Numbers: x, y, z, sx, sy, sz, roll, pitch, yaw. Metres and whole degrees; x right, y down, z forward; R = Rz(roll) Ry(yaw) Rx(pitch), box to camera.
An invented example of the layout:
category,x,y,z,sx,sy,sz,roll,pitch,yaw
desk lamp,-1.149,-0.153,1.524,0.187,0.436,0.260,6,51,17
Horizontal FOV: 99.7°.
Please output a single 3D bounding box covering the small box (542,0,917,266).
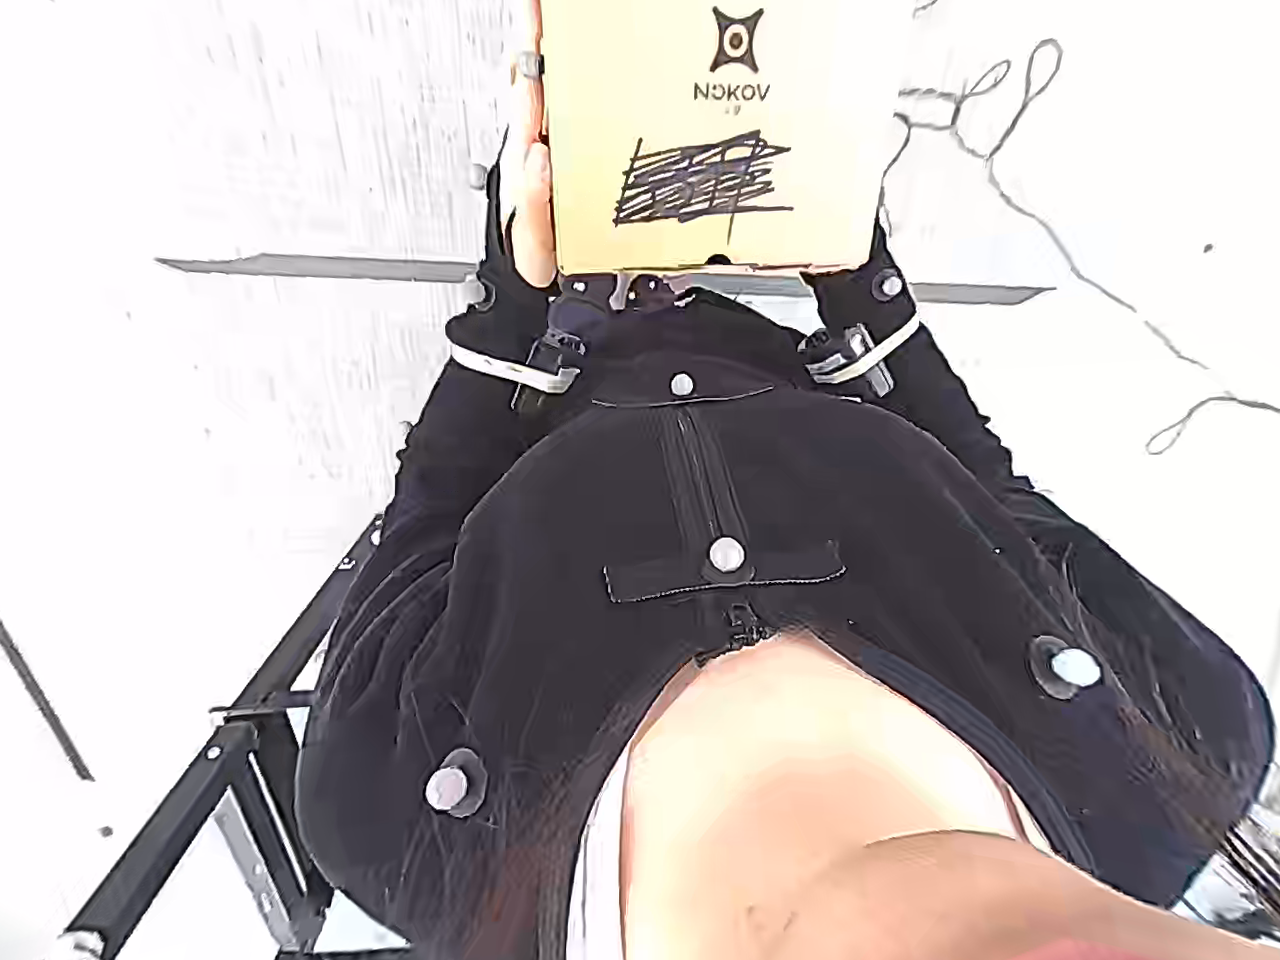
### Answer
category,x,y,z,sx,sy,sz,roll,pitch,yaw
small box,0.030,-0.228,0.309,0.168,0.176,0.179,-4,119,-7
